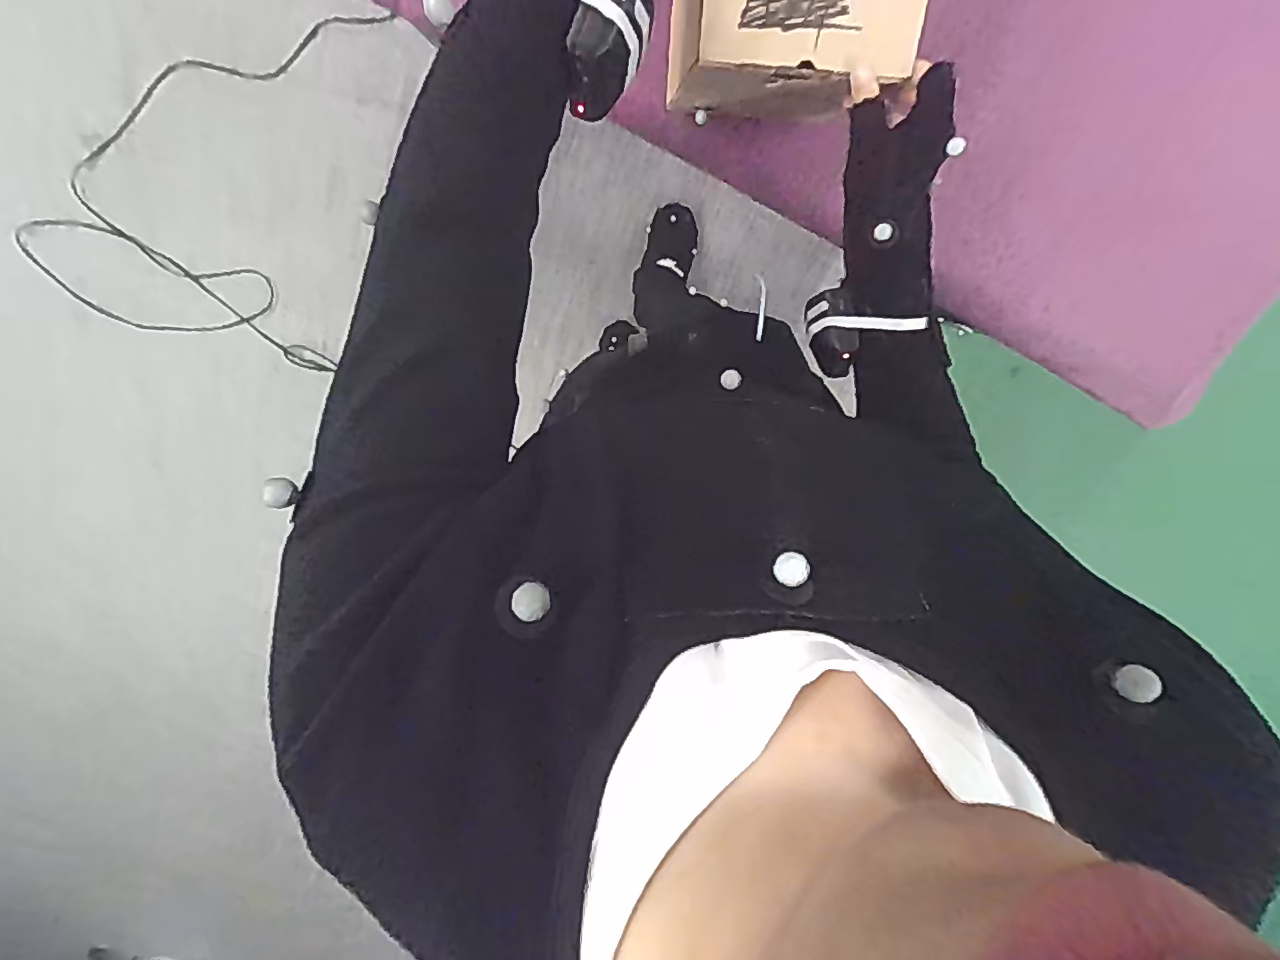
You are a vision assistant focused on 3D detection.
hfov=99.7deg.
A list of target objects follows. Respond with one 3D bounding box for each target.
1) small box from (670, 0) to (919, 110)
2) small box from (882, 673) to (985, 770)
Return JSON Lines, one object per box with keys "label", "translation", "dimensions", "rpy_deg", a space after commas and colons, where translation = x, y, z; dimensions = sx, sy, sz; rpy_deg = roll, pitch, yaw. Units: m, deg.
{"label": "small box", "translation": [0.119, -0.422, 0.440], "dimensions": [0.168, 0.176, 0.179], "rpy_deg": [1, 114, -5]}
{"label": "small box", "translation": [0.839, 0.694, 1.568], "dimensions": [0.168, 0.176, 0.179], "rpy_deg": [22, 113, -9]}
